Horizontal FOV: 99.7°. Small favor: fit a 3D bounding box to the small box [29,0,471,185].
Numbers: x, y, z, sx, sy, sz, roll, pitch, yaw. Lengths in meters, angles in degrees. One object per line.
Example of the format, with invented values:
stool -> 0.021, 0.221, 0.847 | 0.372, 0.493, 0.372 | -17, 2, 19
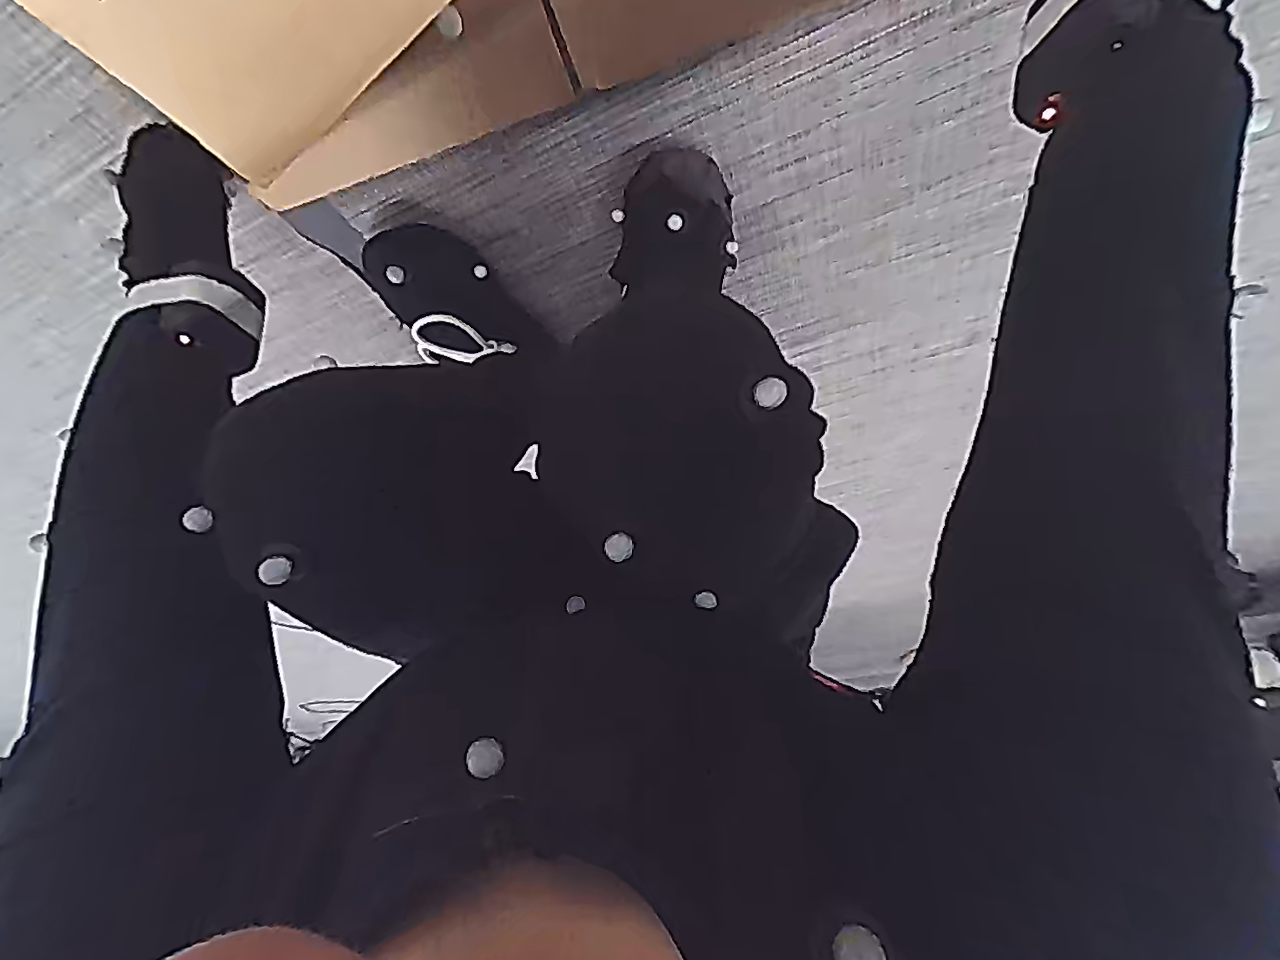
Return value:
small box -> -0.177, -0.289, 0.241 | 0.179, 0.176, 0.168 | -21, 146, 25
